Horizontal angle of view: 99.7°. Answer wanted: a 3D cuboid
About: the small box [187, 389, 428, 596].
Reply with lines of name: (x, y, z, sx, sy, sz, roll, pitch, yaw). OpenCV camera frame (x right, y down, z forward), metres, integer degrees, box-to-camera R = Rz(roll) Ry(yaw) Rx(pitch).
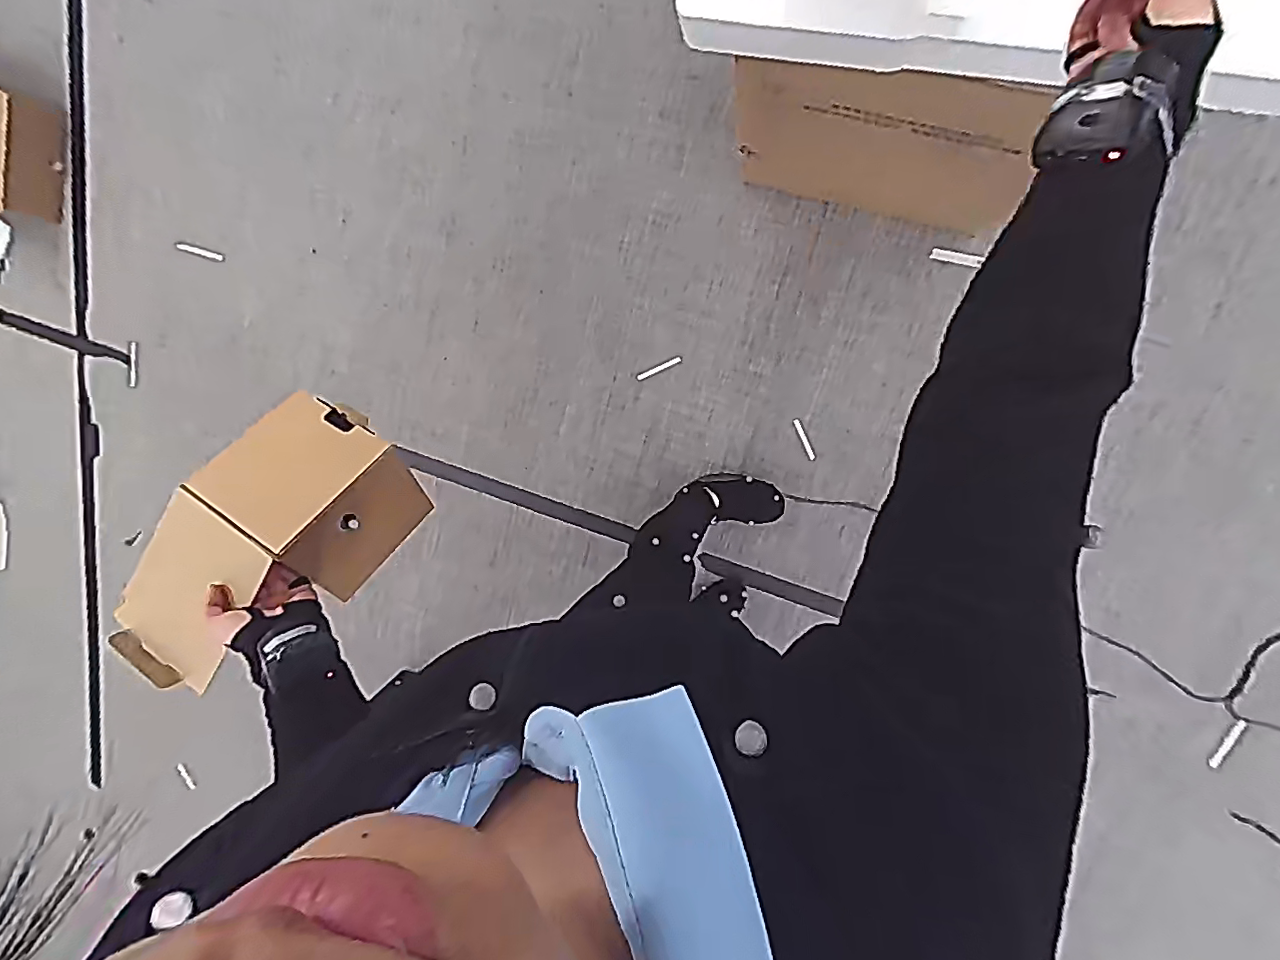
small box: (-0.411, 0.023, 0.705, 0.168, 0.176, 0.179, 30, 63, 15)
